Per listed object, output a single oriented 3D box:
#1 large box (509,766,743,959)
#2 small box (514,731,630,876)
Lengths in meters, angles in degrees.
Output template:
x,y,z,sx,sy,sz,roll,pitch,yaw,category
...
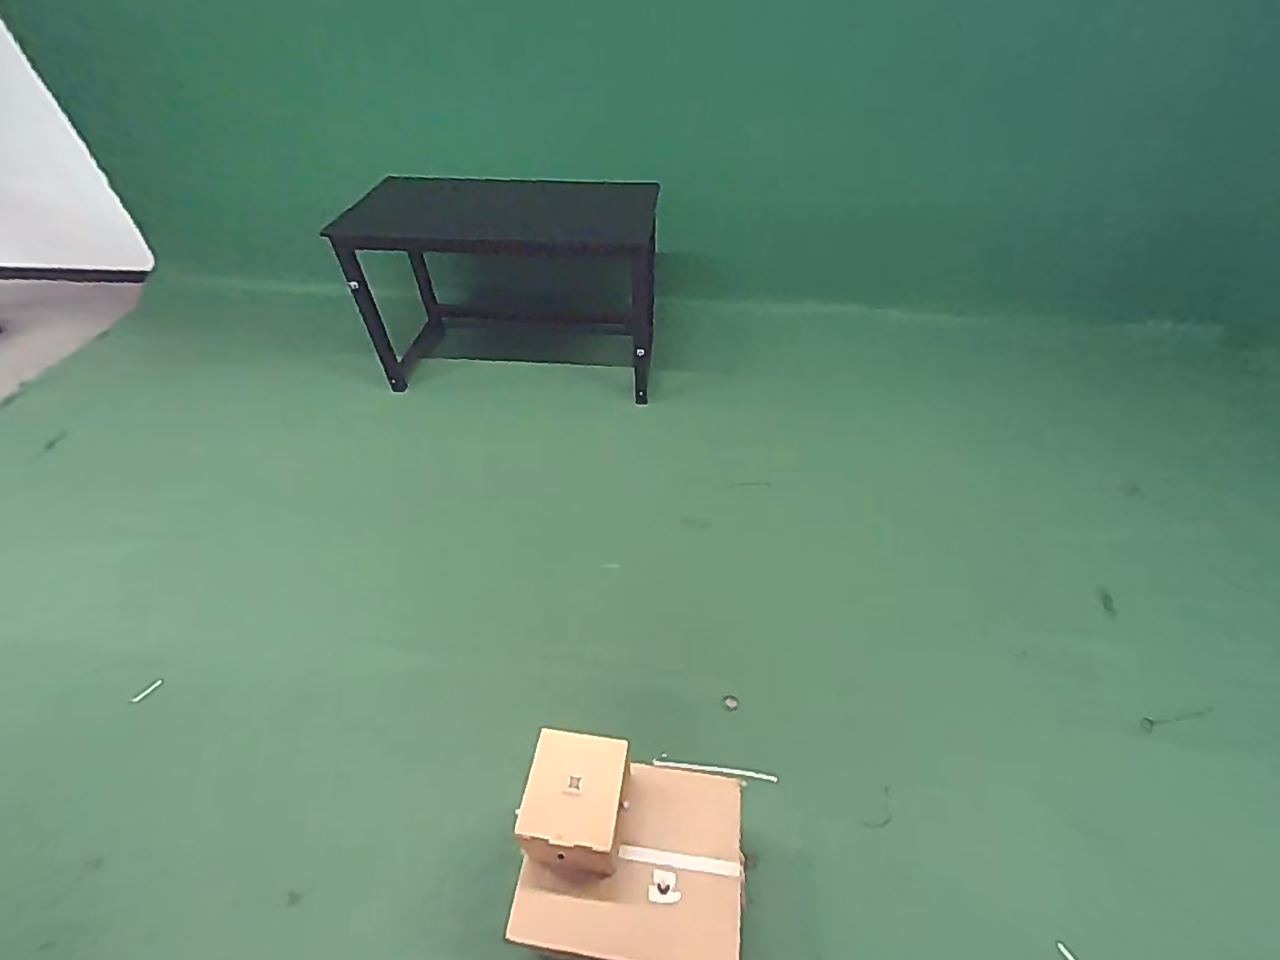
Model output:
x,y,z,sx,sy,sz,roll,pitch,yaw,category
-0.011,0.803,1.107,0.408,0.320,0.320,5,46,6,large box
-0.113,0.587,0.981,0.168,0.176,0.179,6,45,6,small box
